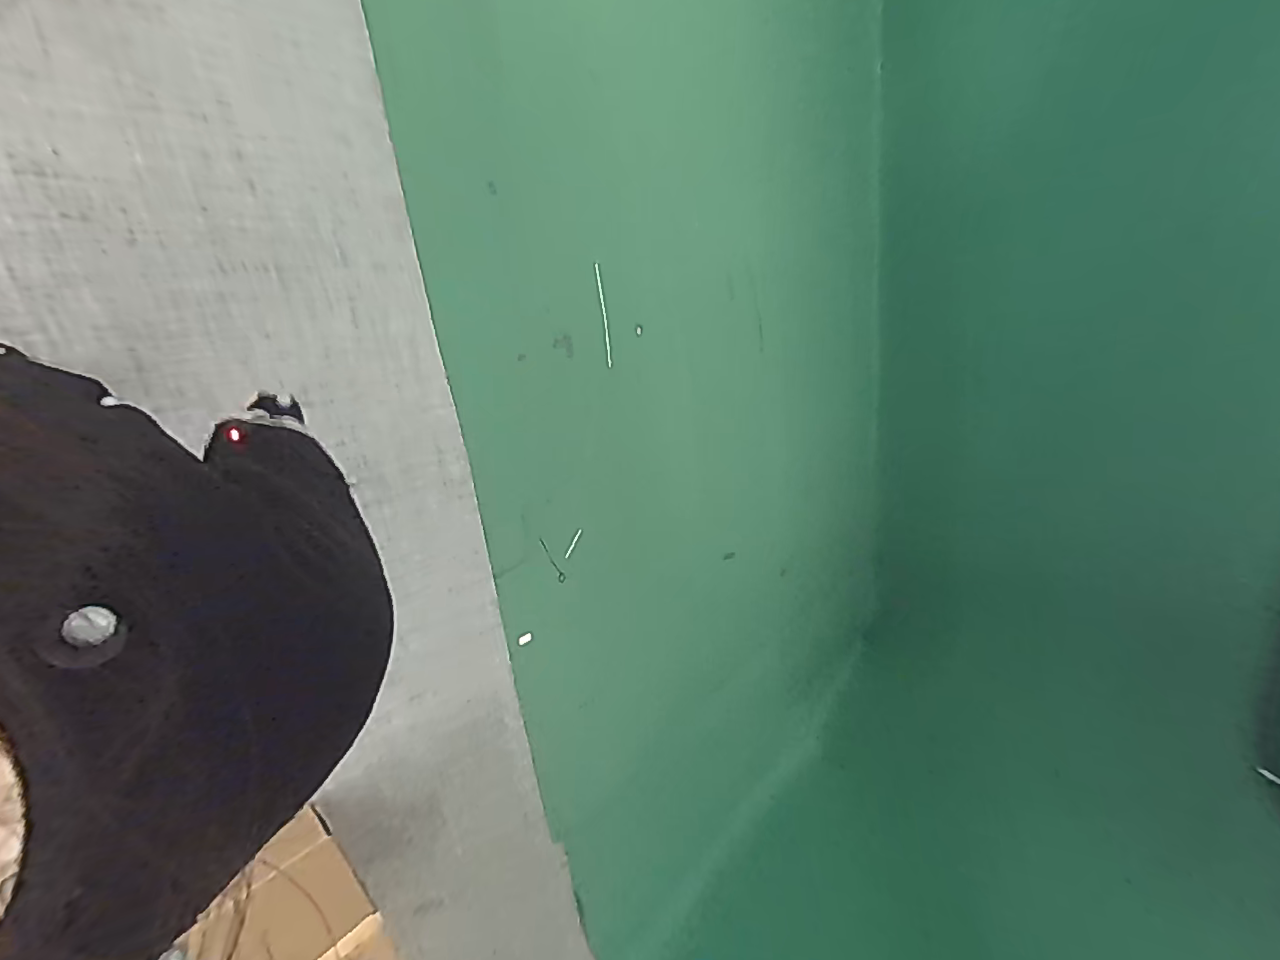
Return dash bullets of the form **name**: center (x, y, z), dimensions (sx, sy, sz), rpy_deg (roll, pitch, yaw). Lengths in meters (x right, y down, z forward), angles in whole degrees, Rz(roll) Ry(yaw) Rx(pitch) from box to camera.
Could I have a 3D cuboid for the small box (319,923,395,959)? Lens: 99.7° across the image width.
- **small box**: center (-0.569, 1.063, 1.088), dimensions (0.168, 0.176, 0.179), rpy_deg (-22, 112, -41)
